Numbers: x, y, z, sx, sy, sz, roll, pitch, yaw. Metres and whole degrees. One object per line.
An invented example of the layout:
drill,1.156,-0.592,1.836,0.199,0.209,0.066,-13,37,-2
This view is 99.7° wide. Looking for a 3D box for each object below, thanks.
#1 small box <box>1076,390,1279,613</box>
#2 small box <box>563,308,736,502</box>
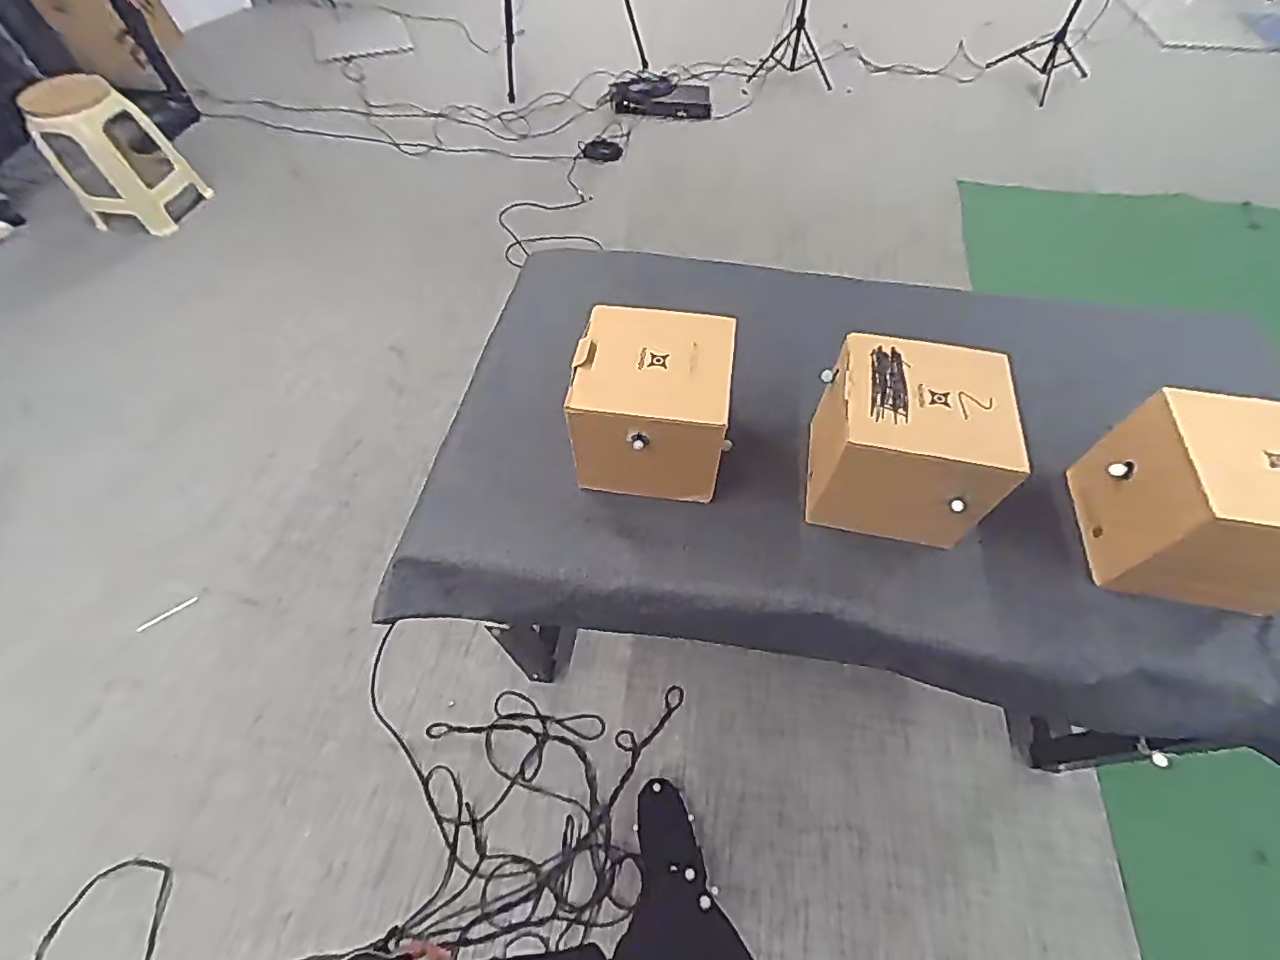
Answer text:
small box,0.619,0.029,0.585,0.179,0.176,0.168,10,57,7
small box,0.017,-0.088,0.672,0.179,0.176,0.168,8,58,5
